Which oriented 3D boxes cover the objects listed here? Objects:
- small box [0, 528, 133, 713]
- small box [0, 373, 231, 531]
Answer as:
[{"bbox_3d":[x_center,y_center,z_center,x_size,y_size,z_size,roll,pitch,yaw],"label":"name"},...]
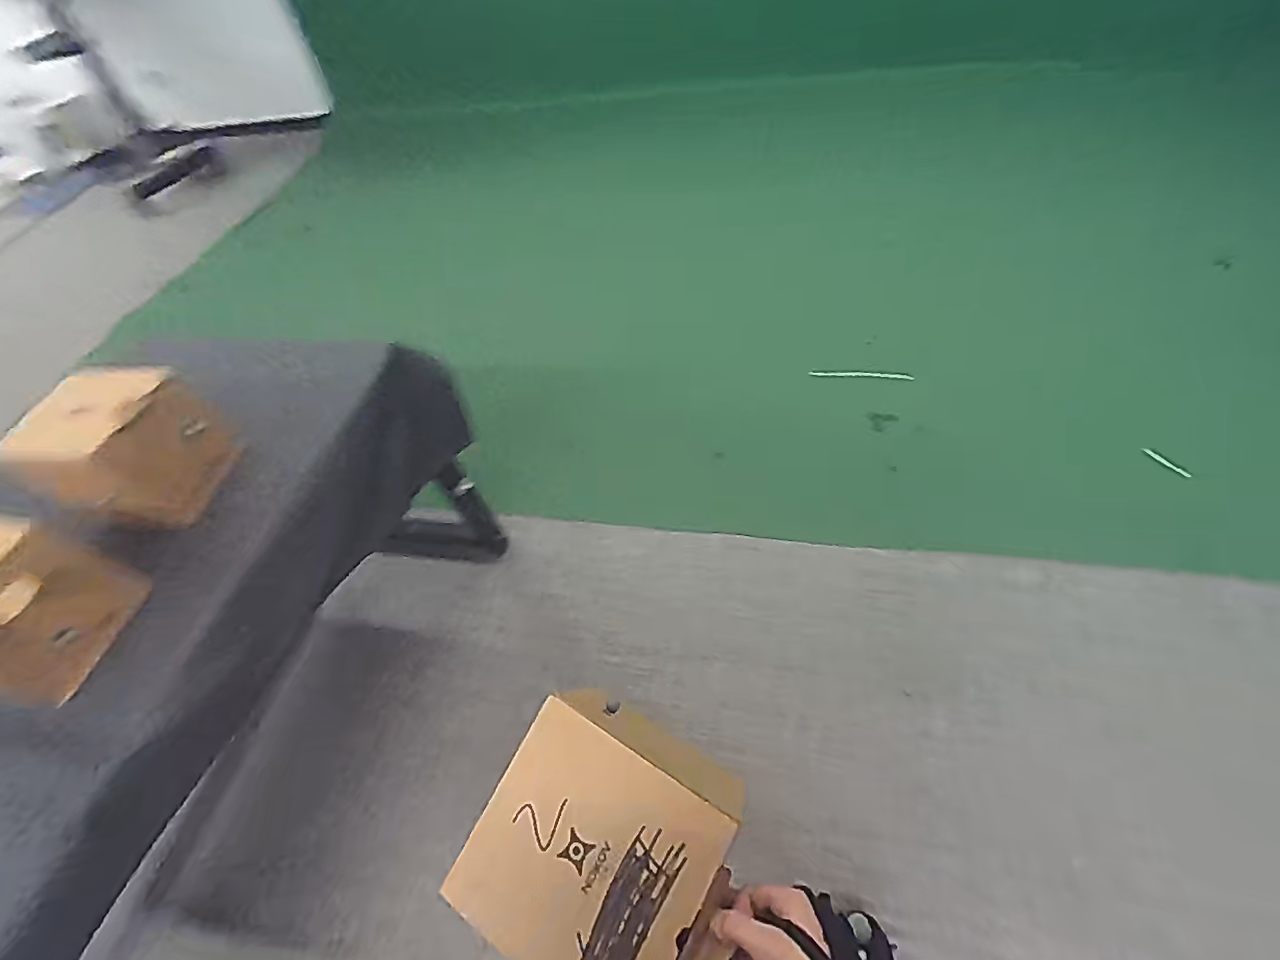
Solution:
[{"bbox_3d":[-0.793,0.167,0.647,0.179,0.176,0.168,2,54,11],"label":"small box"},{"bbox_3d":[-0.764,-0.037,0.793,0.179,0.176,0.168,0,53,10],"label":"small box"}]
